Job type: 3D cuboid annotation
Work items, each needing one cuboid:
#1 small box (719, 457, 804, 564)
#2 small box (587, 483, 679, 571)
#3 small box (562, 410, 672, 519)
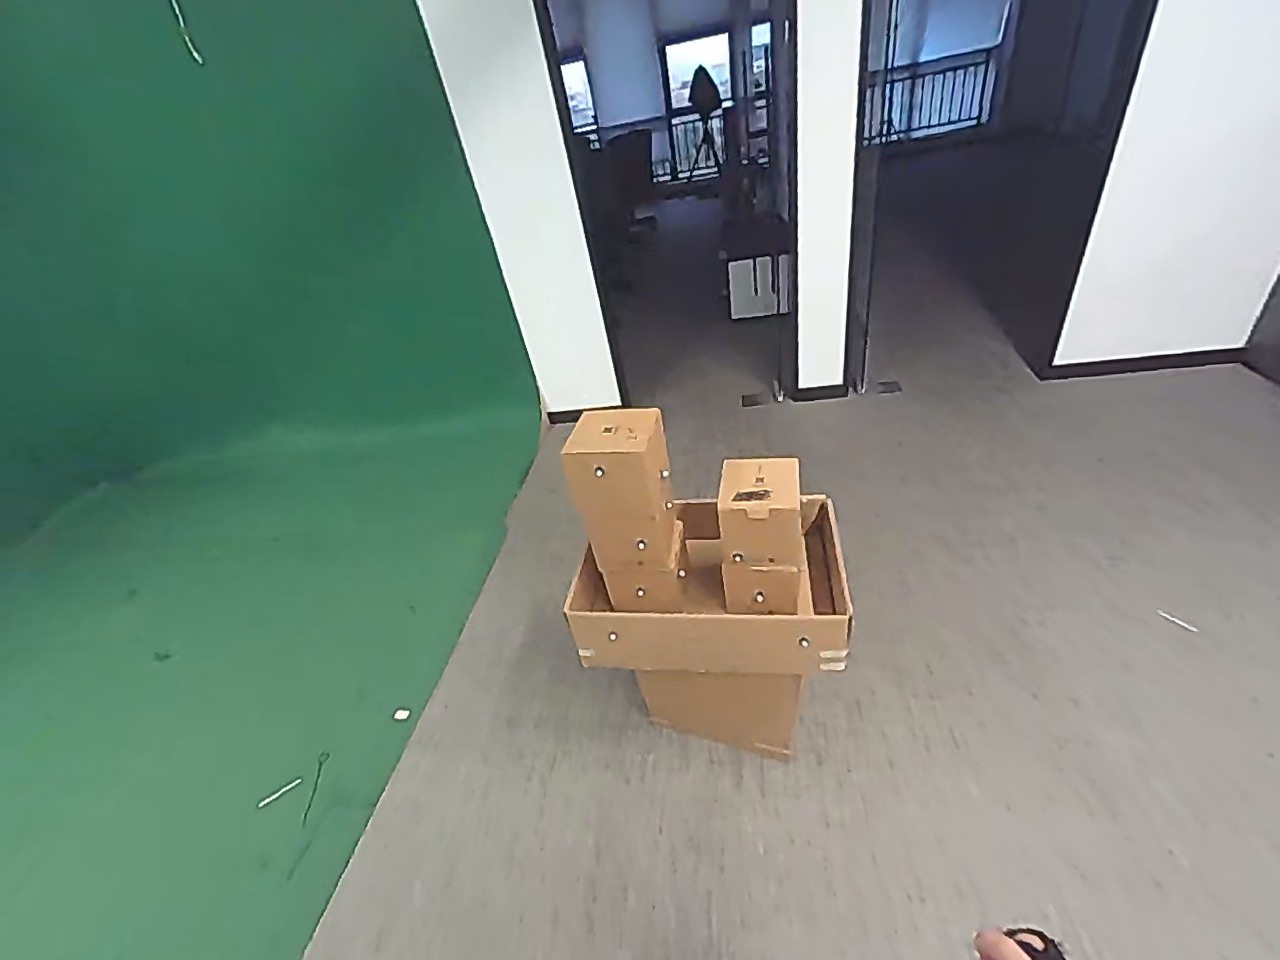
[{"bbox_3d":[0.273,0.070,1.192,0.168,0.176,0.179,-2,36,16],"label":"small box"},{"bbox_3d":[-0.007,0.095,1.251,0.168,0.176,0.179,-2,37,14],"label":"small box"},{"bbox_3d":[-0.040,-0.031,1.150,0.179,0.176,0.168,-1,38,16],"label":"small box"}]
